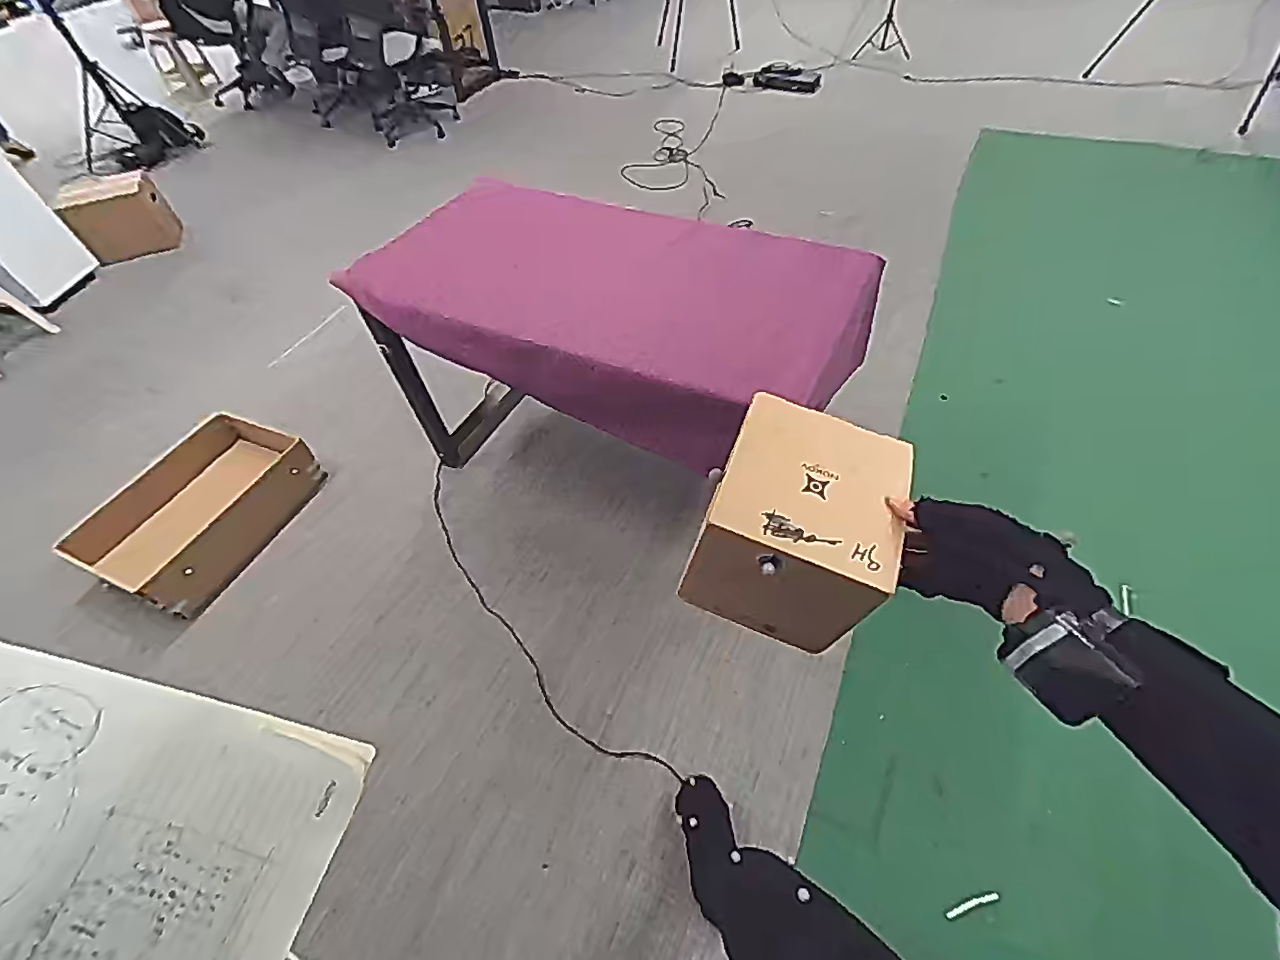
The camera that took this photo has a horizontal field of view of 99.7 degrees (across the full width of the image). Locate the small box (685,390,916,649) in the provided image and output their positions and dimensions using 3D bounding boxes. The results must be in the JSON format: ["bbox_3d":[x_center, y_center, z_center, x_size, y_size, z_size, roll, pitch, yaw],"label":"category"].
[{"bbox_3d":[0.159,0.045,0.564,0.168,0.176,0.179,22,55,8],"label":"small box"}]
